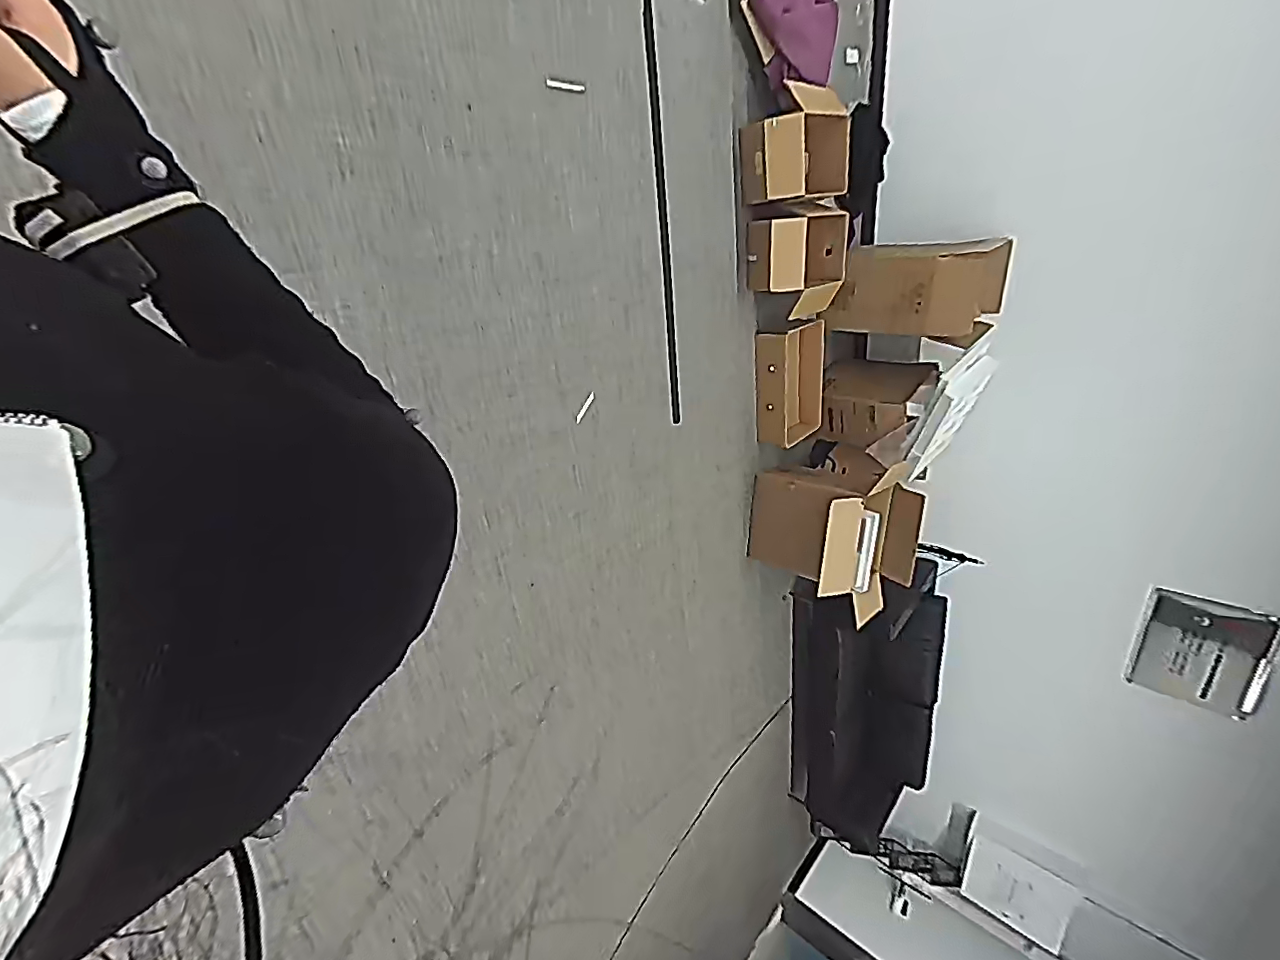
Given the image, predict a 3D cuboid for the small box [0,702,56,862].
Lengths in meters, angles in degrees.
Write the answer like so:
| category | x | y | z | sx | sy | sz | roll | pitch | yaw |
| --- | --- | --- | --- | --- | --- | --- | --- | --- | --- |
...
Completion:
| category | x | y | z | sx | sy | sz | roll | pitch | yaw |
| --- | --- | --- | --- | --- | --- | --- | --- | --- | --- |
| small box | -1.016 | 0.470 | 0.802 | 0.168 | 0.176 | 0.179 | -24 | 119 | -42 |
